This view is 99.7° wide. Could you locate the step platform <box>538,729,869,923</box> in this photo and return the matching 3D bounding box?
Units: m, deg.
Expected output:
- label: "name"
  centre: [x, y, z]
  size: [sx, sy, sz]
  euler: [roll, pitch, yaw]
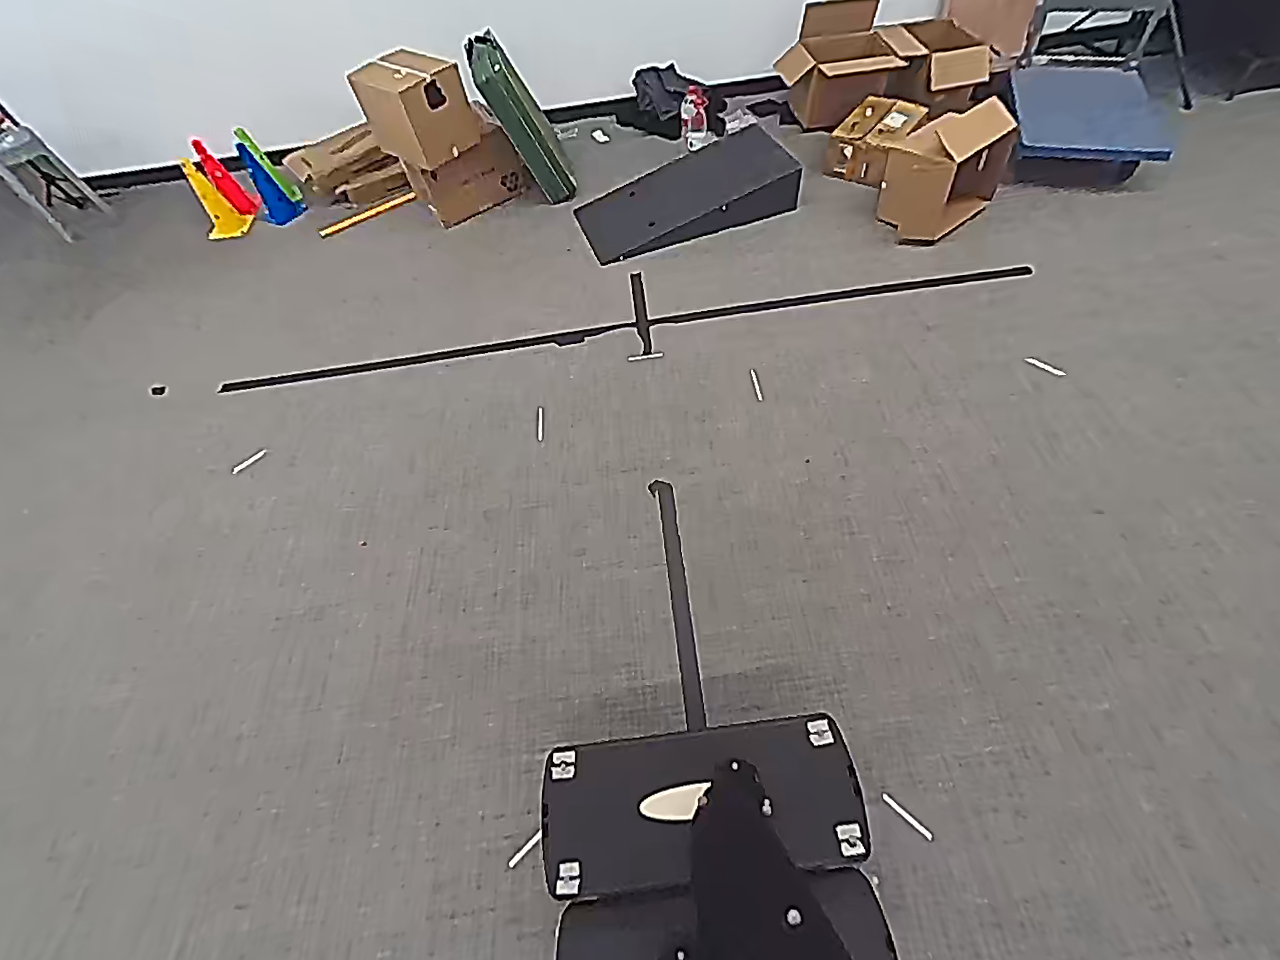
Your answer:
- label: "step platform"
  centre: [0.124, 0.742, 1.179]
  size: [0.684, 0.204, 0.286]
  euler: [-8, 57, 0]
